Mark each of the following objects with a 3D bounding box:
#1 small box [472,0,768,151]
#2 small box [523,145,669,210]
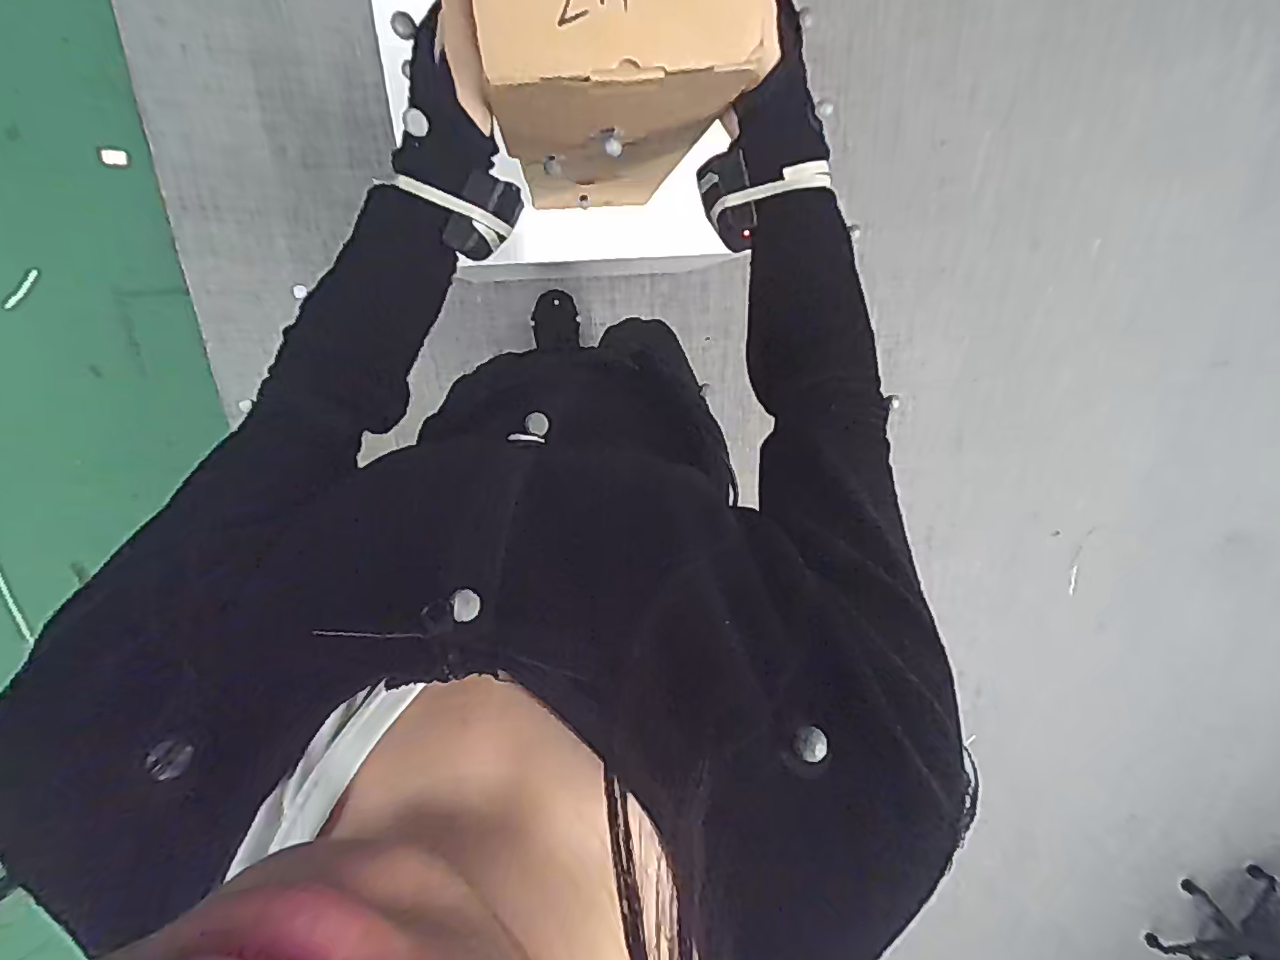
[{"bbox_3d":[-0.026,-0.341,0.352,0.168,0.176,0.179,-8,108,-6],"label":"small box"},{"bbox_3d":[-0.063,-0.445,0.663,0.168,0.176,0.179,-6,107,-7],"label":"small box"}]
